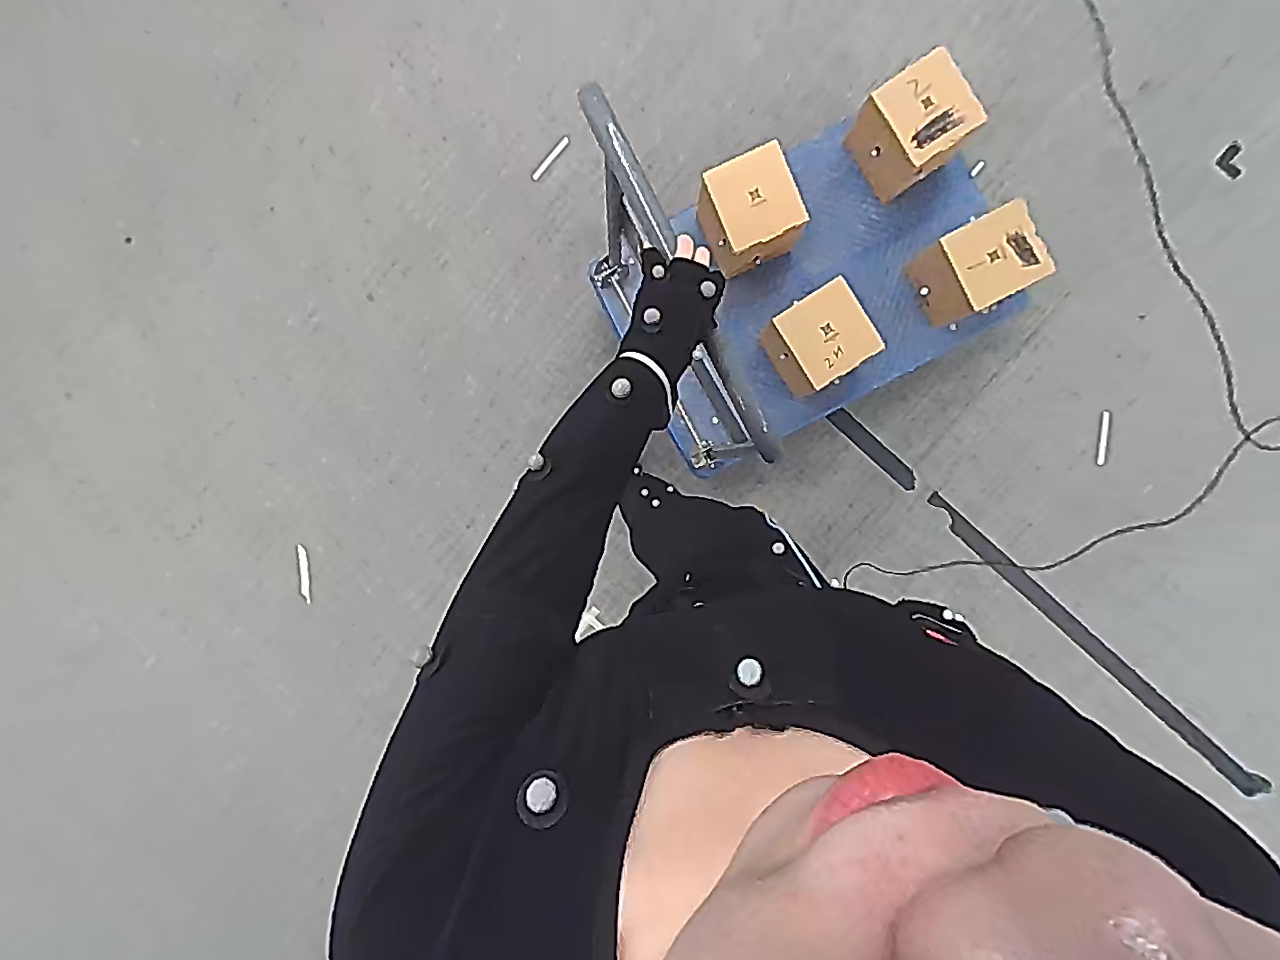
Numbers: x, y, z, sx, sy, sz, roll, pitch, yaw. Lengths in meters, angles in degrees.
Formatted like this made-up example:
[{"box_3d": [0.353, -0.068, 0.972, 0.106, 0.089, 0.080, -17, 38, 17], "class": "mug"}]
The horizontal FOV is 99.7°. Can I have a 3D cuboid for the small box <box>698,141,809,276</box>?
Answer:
[{"box_3d": [0.233, -0.572, 1.163, 0.168, 0.176, 0.179, -23, 94, 3], "class": "small box"}]

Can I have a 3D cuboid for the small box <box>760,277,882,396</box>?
[{"box_3d": [0.380, -0.300, 1.173, 0.168, 0.176, 0.179, -32, 92, 4], "class": "small box"}]

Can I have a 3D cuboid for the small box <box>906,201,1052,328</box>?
[{"box_3d": [0.710, -0.448, 1.153, 0.179, 0.176, 0.168, -26, 92, 5], "class": "small box"}]
